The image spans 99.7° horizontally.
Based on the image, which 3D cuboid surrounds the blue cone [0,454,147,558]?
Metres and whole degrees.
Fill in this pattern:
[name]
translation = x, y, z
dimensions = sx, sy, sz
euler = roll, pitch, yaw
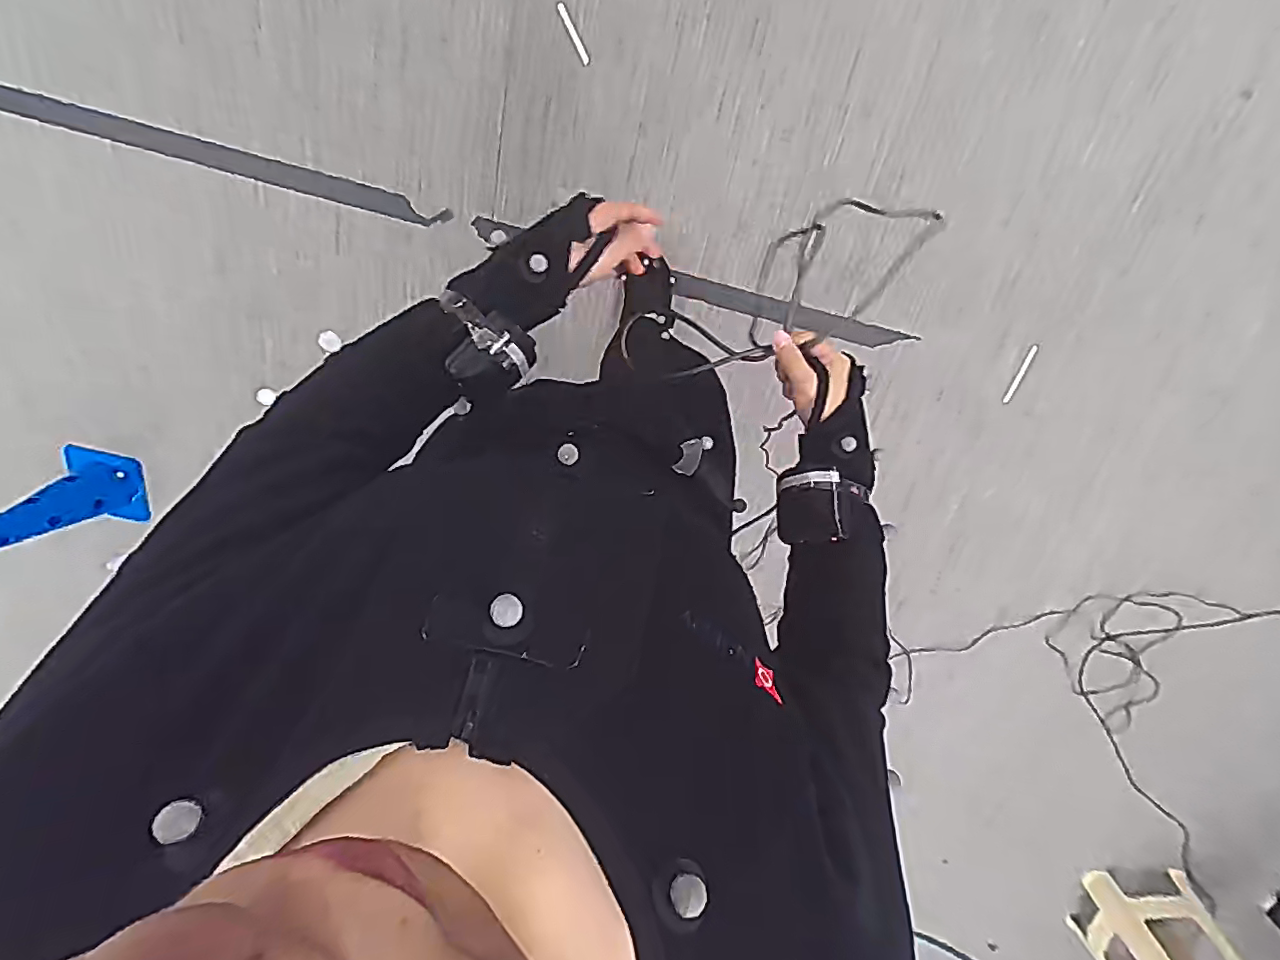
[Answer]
[blue cone]
translation = -1.454, 0.094, 1.319
dimensions = 0.193, 0.380, 0.192
euler = 14, 115, -4
